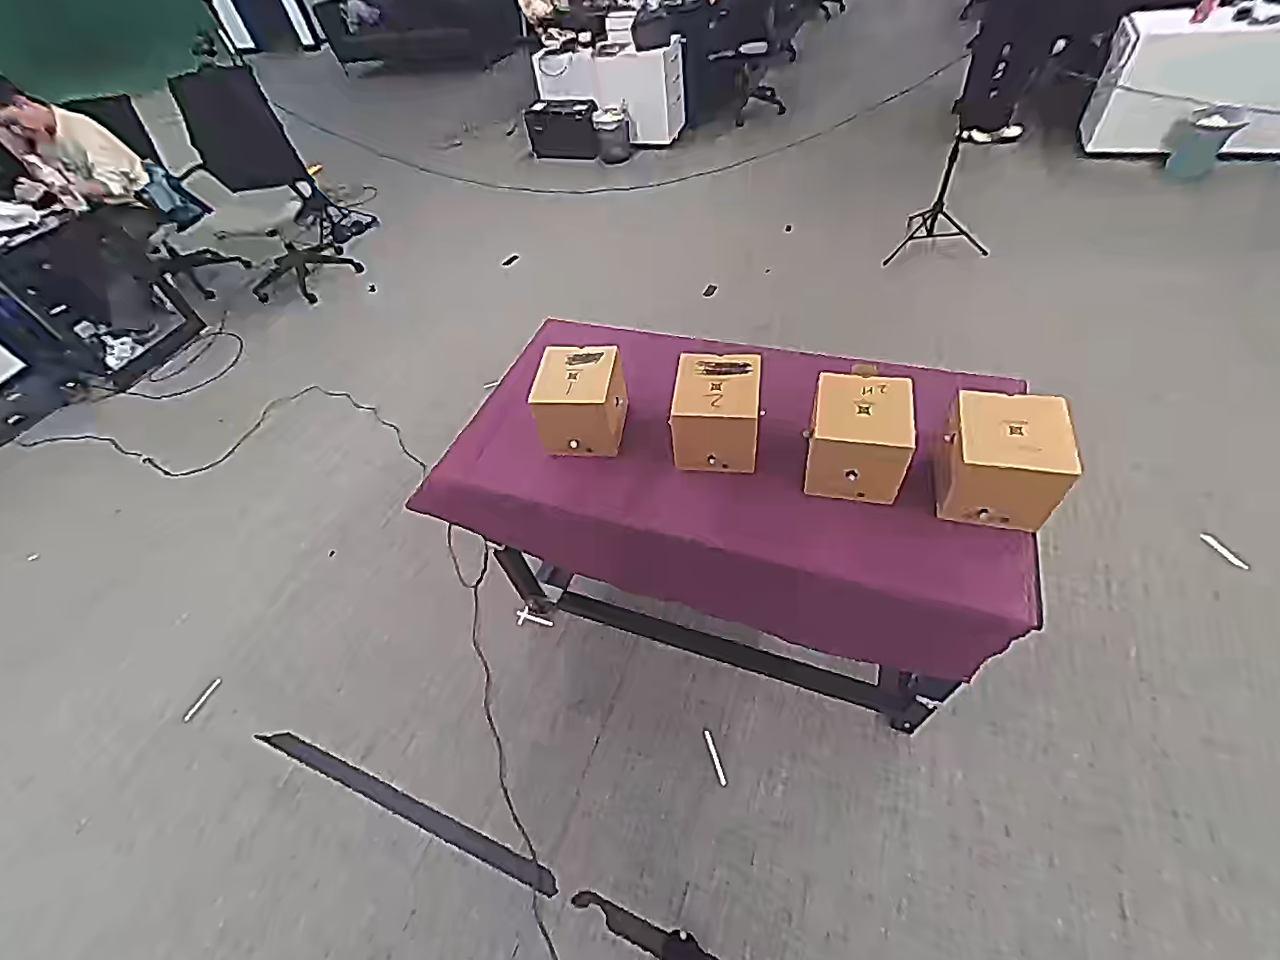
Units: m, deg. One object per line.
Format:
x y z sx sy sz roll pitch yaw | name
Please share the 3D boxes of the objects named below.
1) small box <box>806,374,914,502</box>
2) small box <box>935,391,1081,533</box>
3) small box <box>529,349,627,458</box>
0.416 -0.078 1.038 0.168 0.176 0.179 8 53 15 | small box
0.639 -0.033 0.965 0.168 0.176 0.179 8 52 17 | small box
-0.127 -0.169 1.198 0.168 0.176 0.179 1 52 10 | small box
